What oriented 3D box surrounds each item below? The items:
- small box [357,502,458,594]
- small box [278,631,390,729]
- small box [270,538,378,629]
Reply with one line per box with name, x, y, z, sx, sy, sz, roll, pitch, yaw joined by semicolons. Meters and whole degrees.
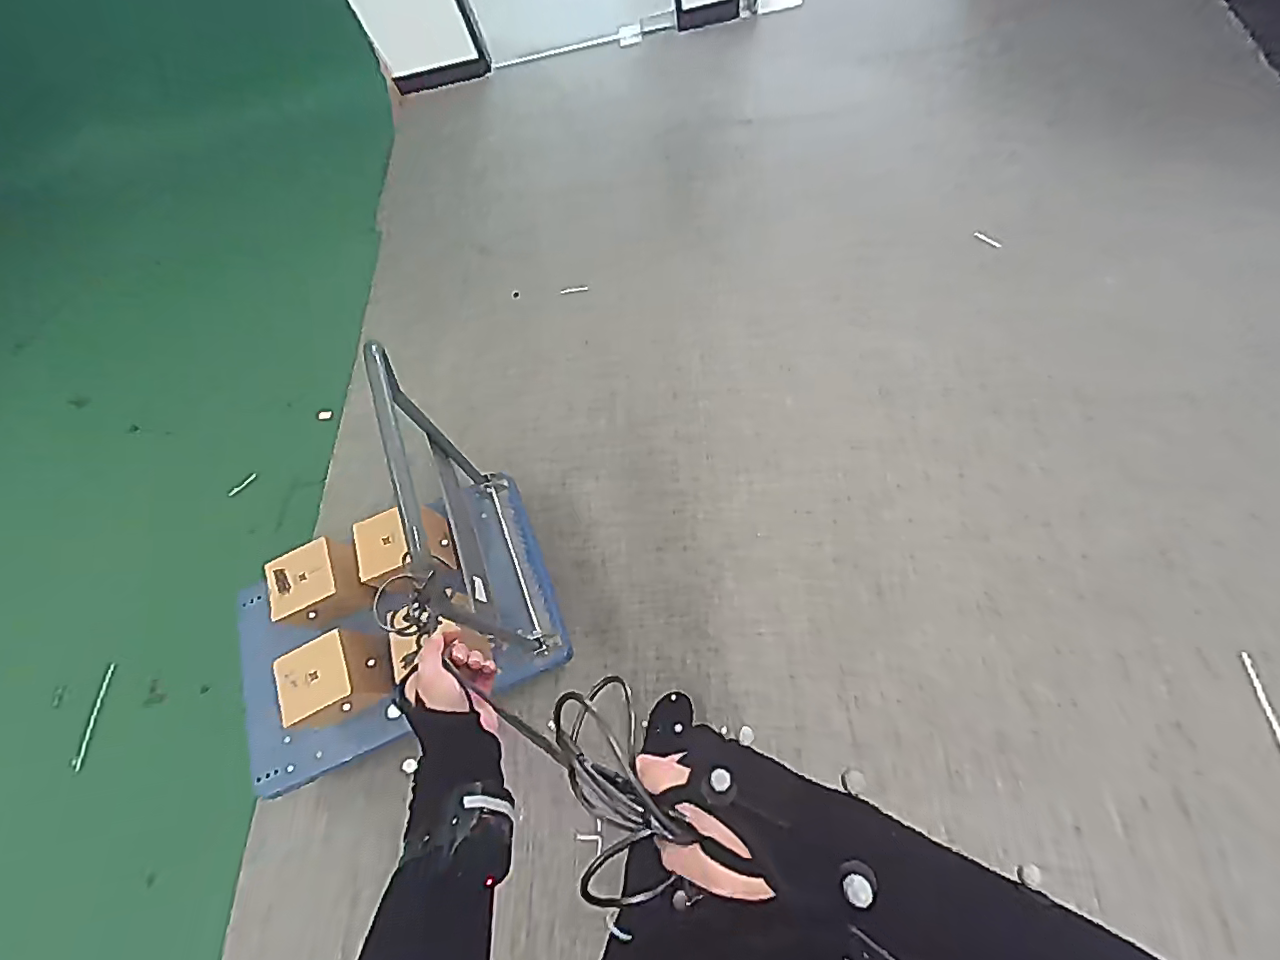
small box;-0.617;0.187;1.444;0.179;0.176;0.168;-23;65;1
small box;-0.746;0.495;1.338;0.179;0.176;0.168;-28;64;-1
small box;-0.842;0.283;1.445;0.179;0.176;0.168;-26;66;-1
